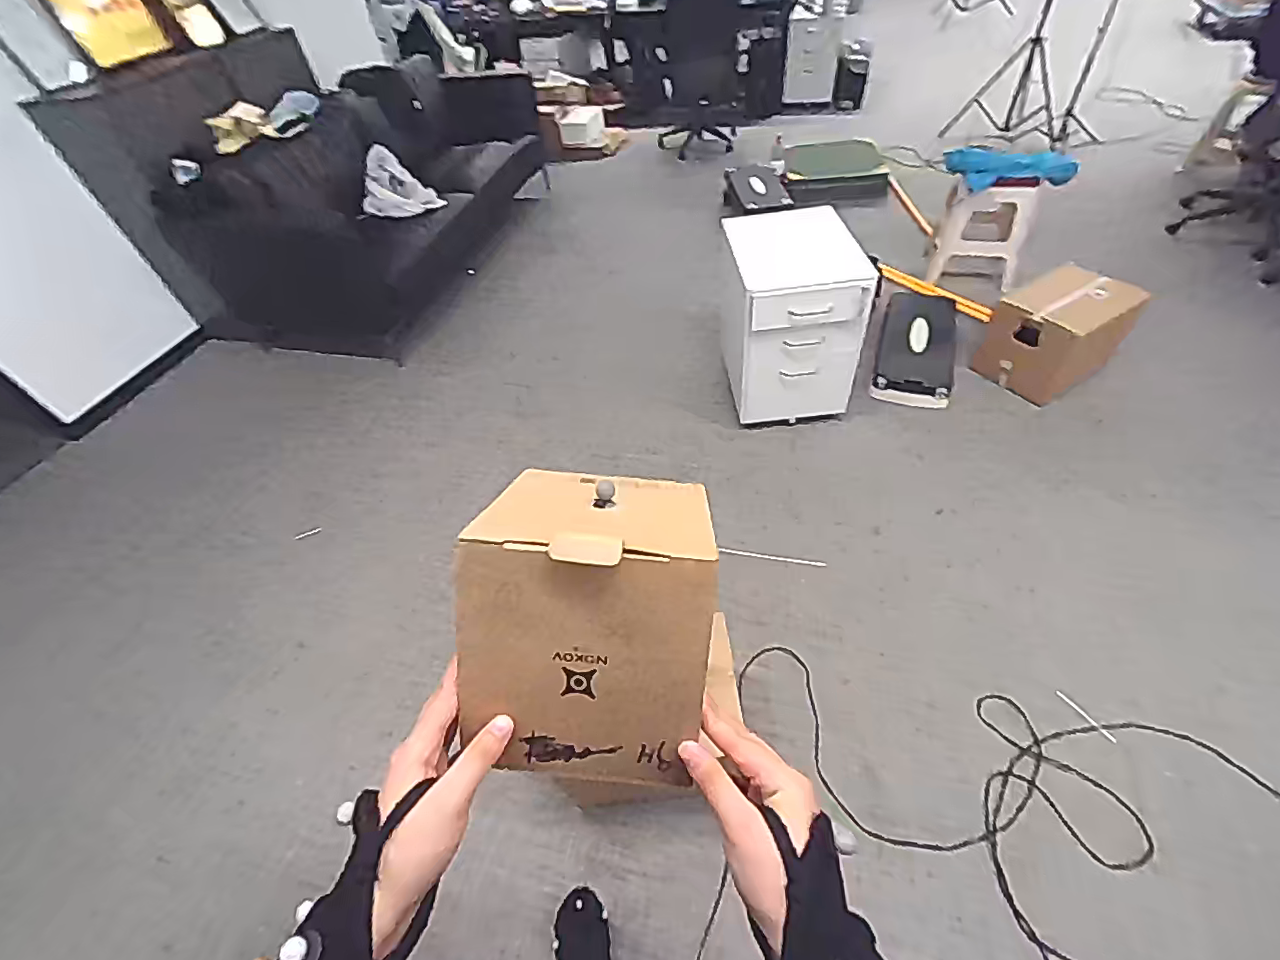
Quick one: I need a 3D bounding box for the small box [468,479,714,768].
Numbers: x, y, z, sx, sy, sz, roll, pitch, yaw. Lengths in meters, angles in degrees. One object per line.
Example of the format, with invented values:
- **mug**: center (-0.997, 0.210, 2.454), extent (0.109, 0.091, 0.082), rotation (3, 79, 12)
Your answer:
- **small box**: center (-0.037, 0.103, 0.455), extent (0.168, 0.179, 0.176), rotation (5, 14, 1)
